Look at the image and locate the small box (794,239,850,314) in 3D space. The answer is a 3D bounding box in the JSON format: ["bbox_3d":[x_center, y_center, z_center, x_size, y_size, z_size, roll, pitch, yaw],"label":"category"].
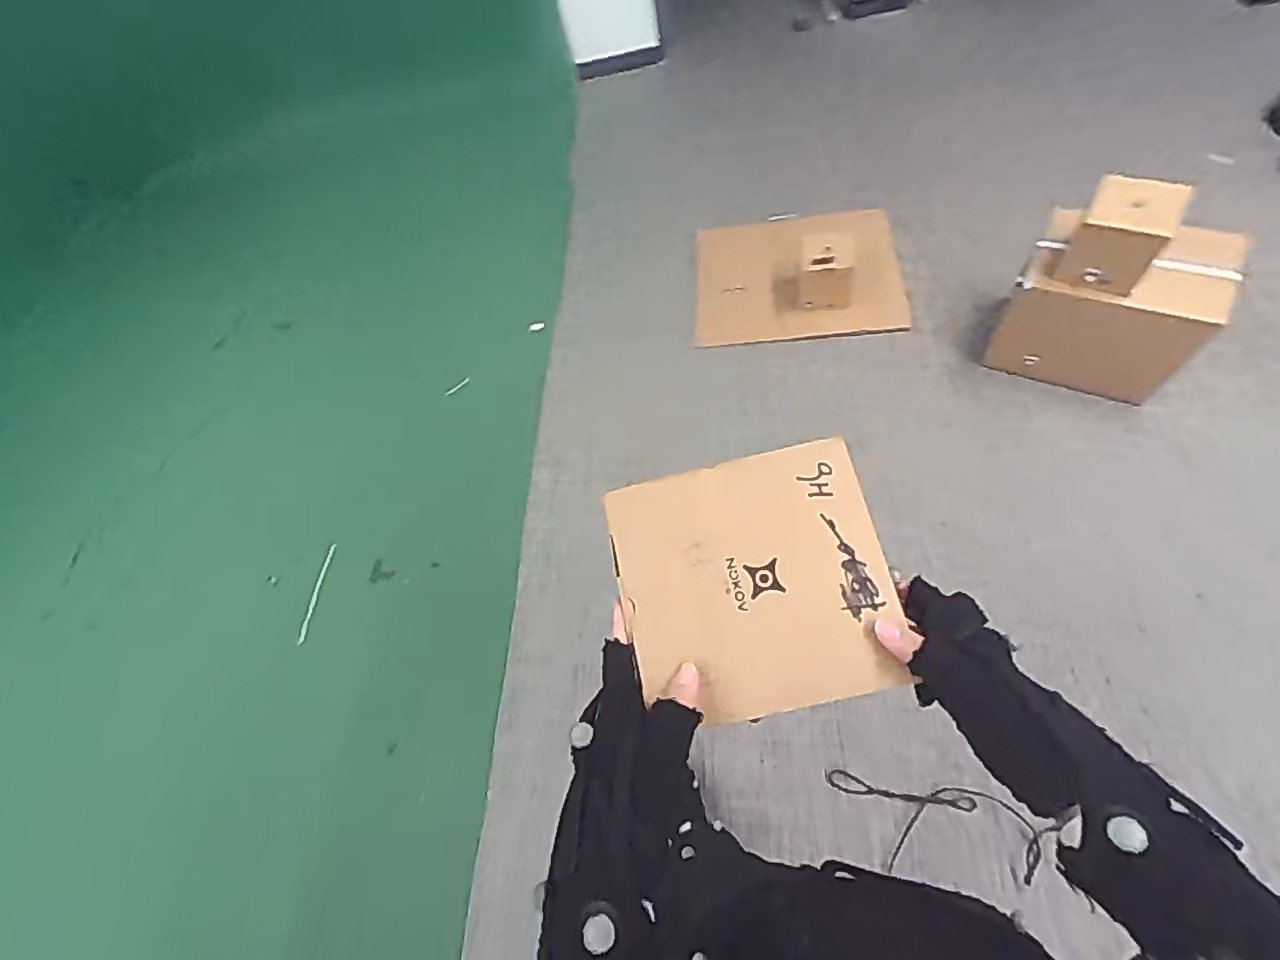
[{"bbox_3d":[0.599,-0.666,1.789,0.168,0.176,0.179,2,59,15],"label":"small box"}]

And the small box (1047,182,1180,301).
[{"bbox_3d":[1.098,-0.557,1.266,0.168,0.176,0.179,25,71,26],"label":"small box"}]

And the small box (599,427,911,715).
[{"bbox_3d":[0.081,0.082,0.443,0.179,0.176,0.168,-16,71,2],"label":"small box"}]
